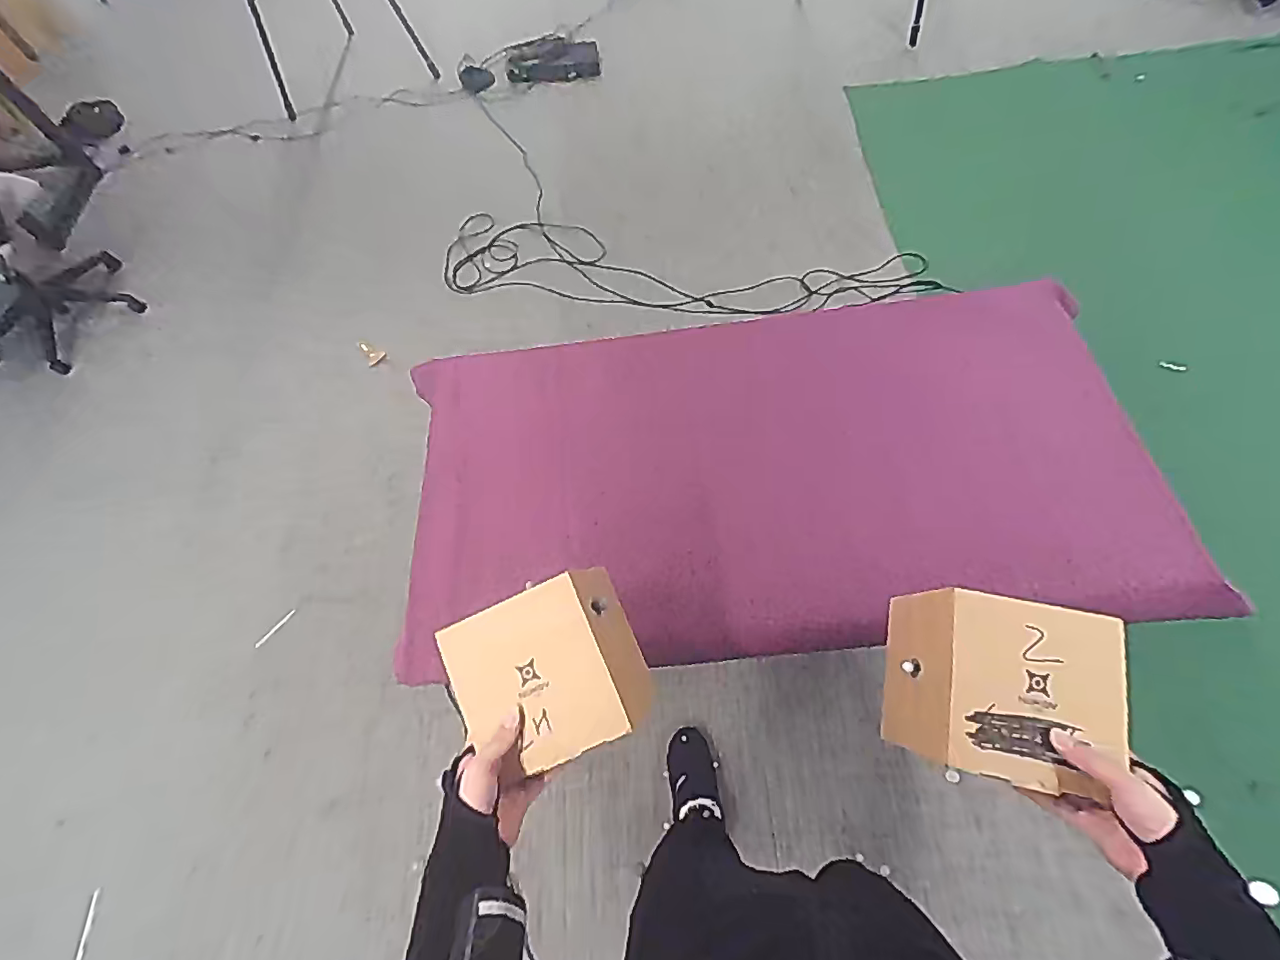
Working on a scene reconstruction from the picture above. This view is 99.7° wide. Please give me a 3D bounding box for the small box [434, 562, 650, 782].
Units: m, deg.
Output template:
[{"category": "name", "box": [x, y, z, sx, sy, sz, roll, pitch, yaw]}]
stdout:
[{"category": "small box", "box": [-0.102, 0.207, 0.631, 0.168, 0.176, 0.179, -25, 79, 6]}]
